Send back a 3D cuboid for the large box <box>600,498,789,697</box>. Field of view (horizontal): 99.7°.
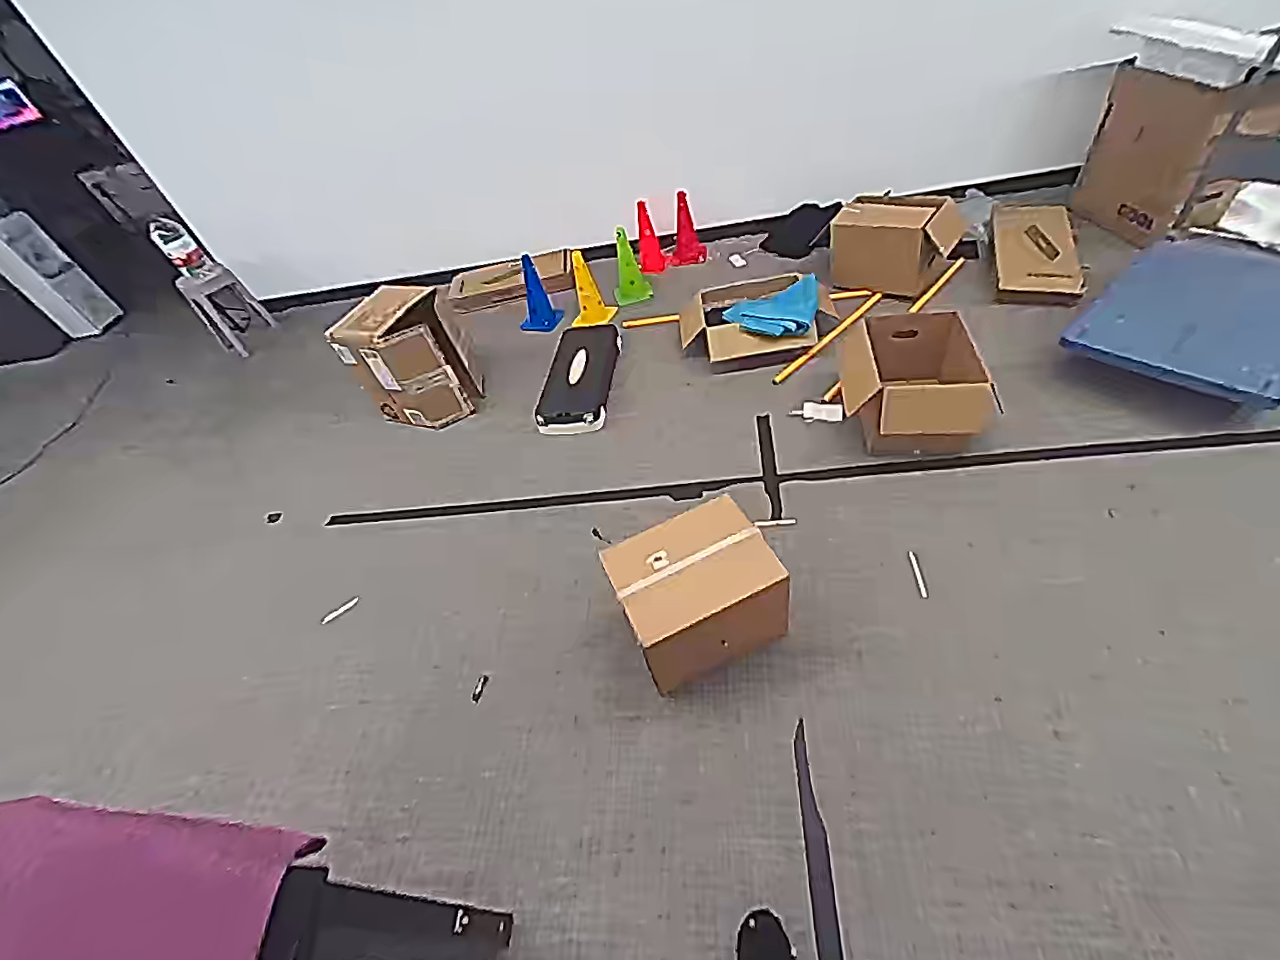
[{"bbox_3d":[0.156,0.323,1.491,0.408,0.320,0.320,-25,47,-8],"label":"large box"}]
